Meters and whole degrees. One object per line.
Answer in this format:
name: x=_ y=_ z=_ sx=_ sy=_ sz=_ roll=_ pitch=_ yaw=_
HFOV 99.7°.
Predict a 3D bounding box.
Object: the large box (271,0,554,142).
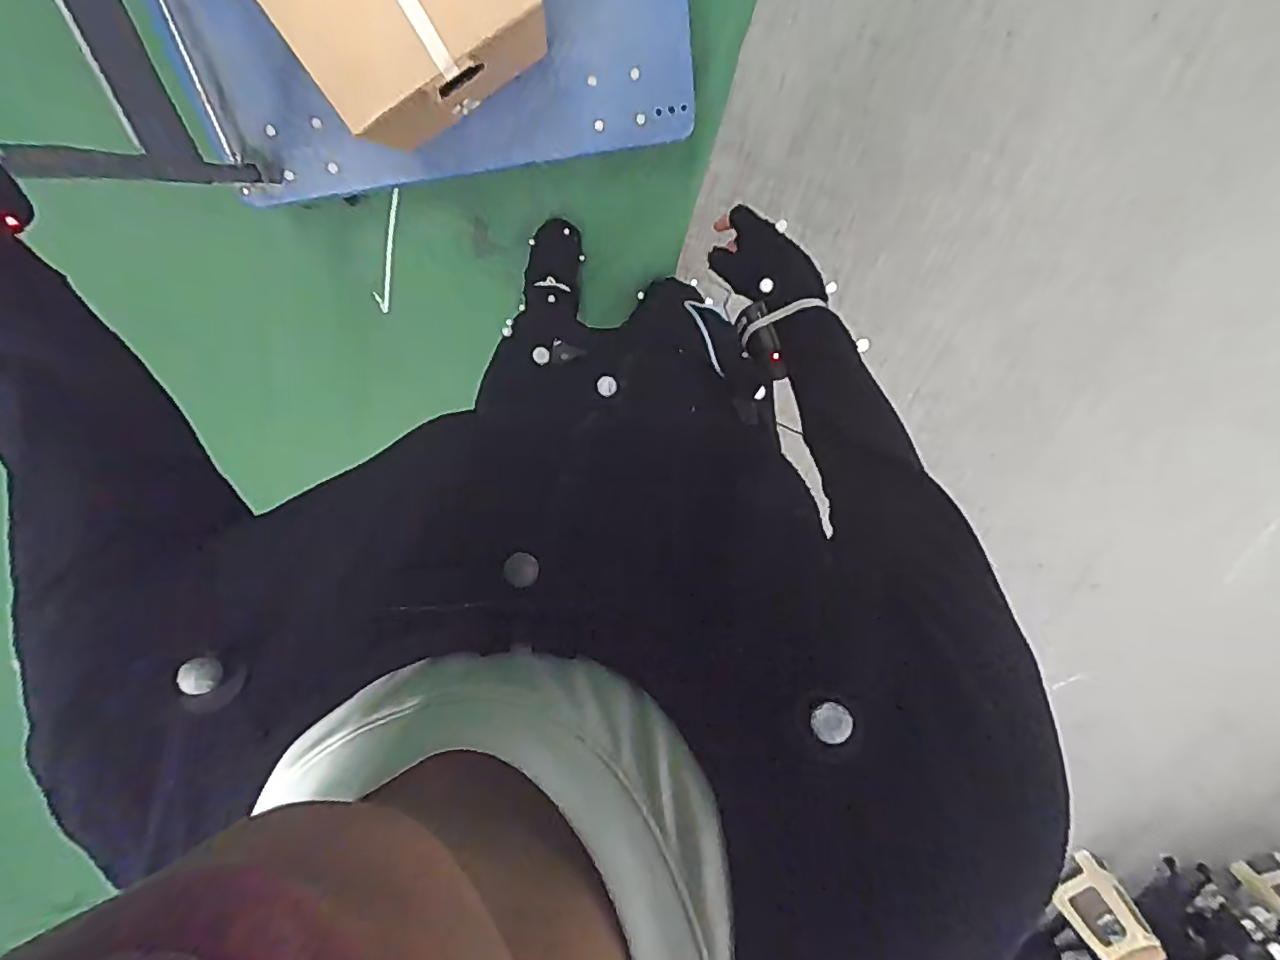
large box: x=-0.363 y=-0.772 z=0.760 sx=0.320 sy=0.320 sz=0.408 roll=-29 pitch=117 yaw=8
